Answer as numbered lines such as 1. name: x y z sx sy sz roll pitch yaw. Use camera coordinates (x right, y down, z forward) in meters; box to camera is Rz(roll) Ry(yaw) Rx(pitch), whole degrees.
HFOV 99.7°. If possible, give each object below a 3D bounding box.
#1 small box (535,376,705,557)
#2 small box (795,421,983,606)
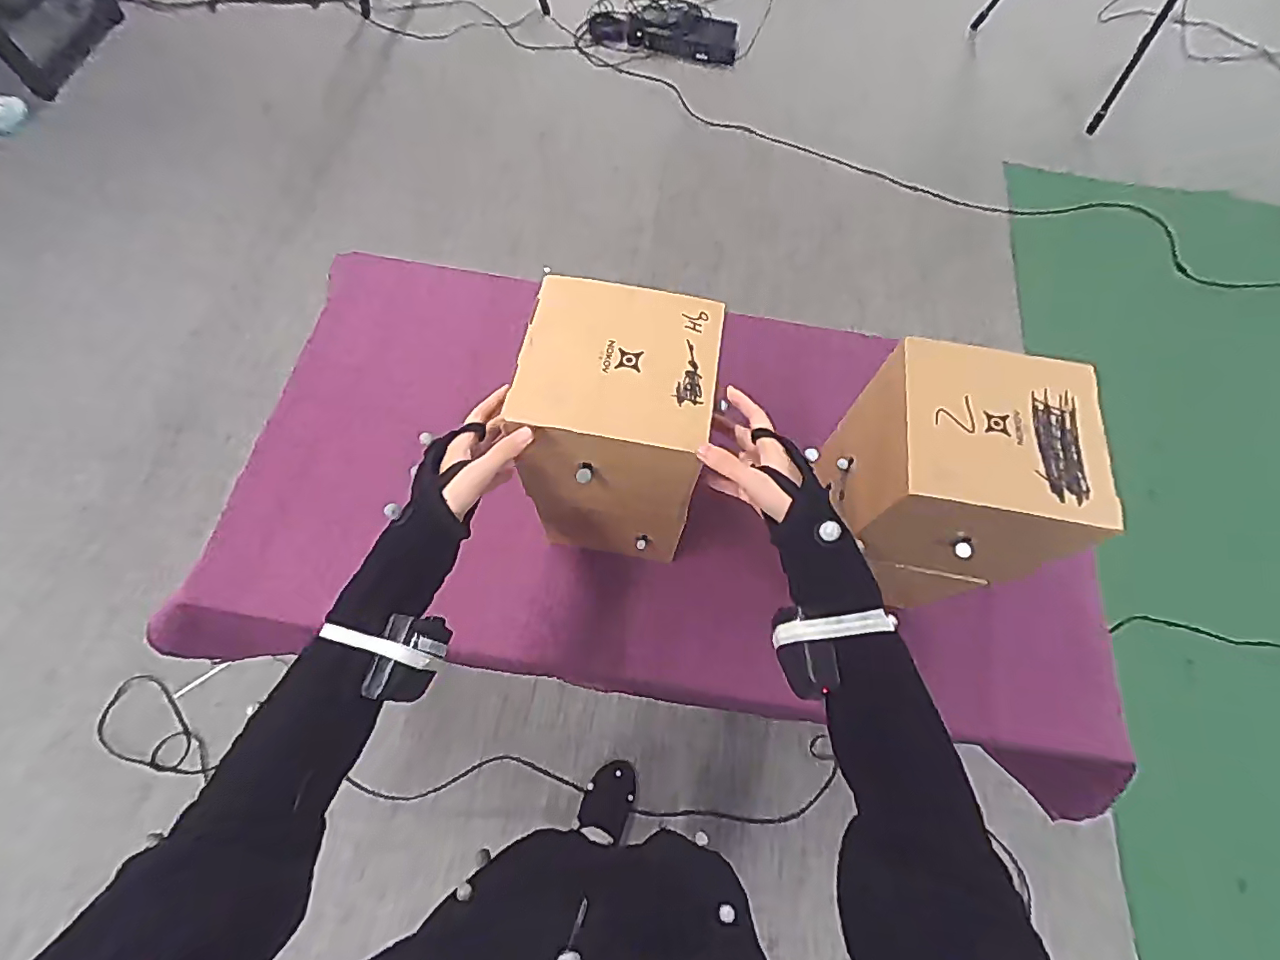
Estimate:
1. small box: -0.023 -0.008 0.704 0.179 0.176 0.168 10 65 1
2. small box: 0.306 0.052 0.697 0.168 0.176 0.179 11 65 2
